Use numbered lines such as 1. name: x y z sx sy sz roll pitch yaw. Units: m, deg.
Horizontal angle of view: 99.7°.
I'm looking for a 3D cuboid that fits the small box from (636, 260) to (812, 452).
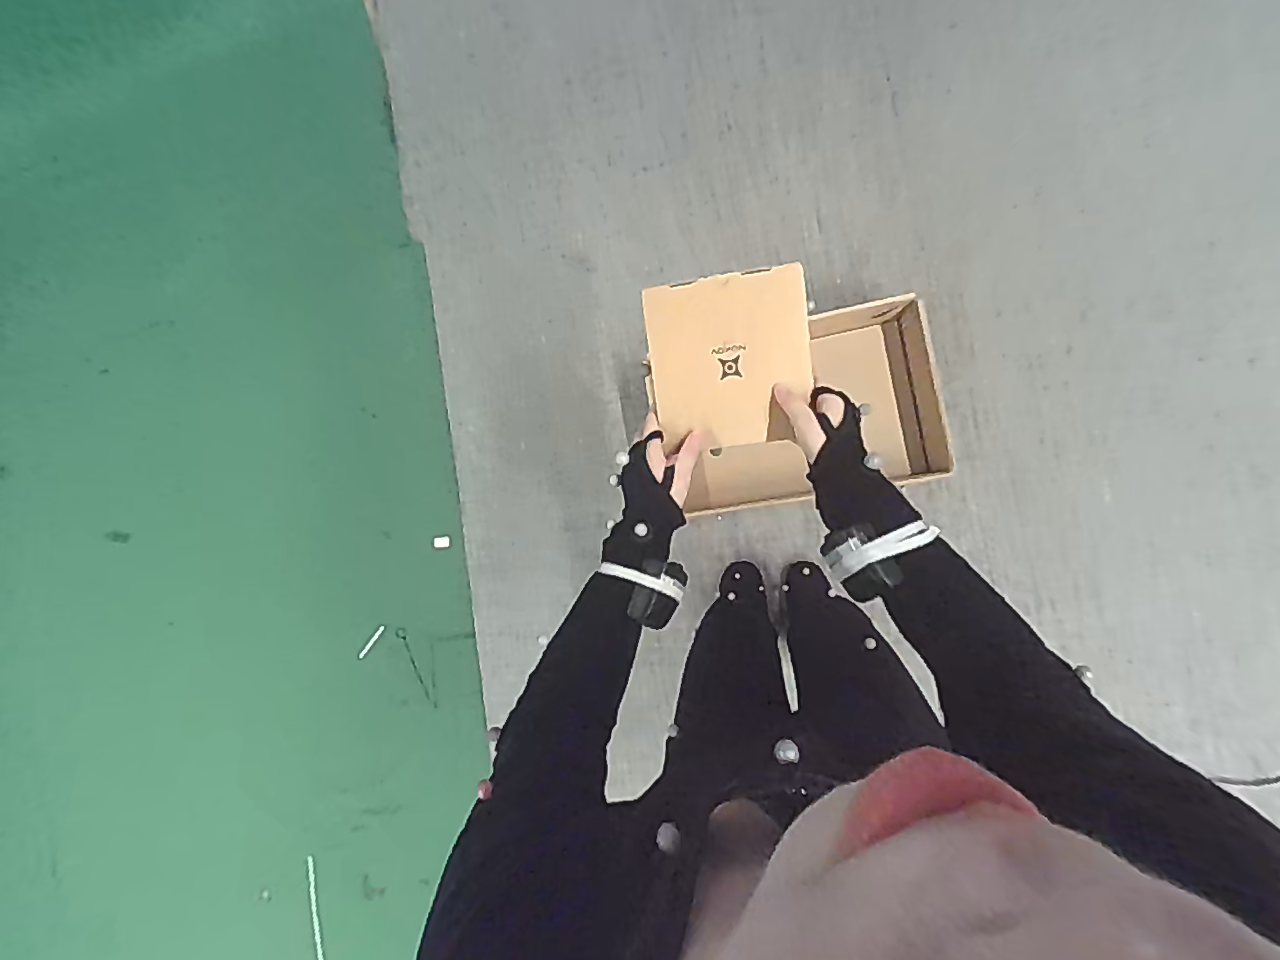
1. small box: 0.095 -0.136 0.627 0.168 0.176 0.179 -7 98 7
